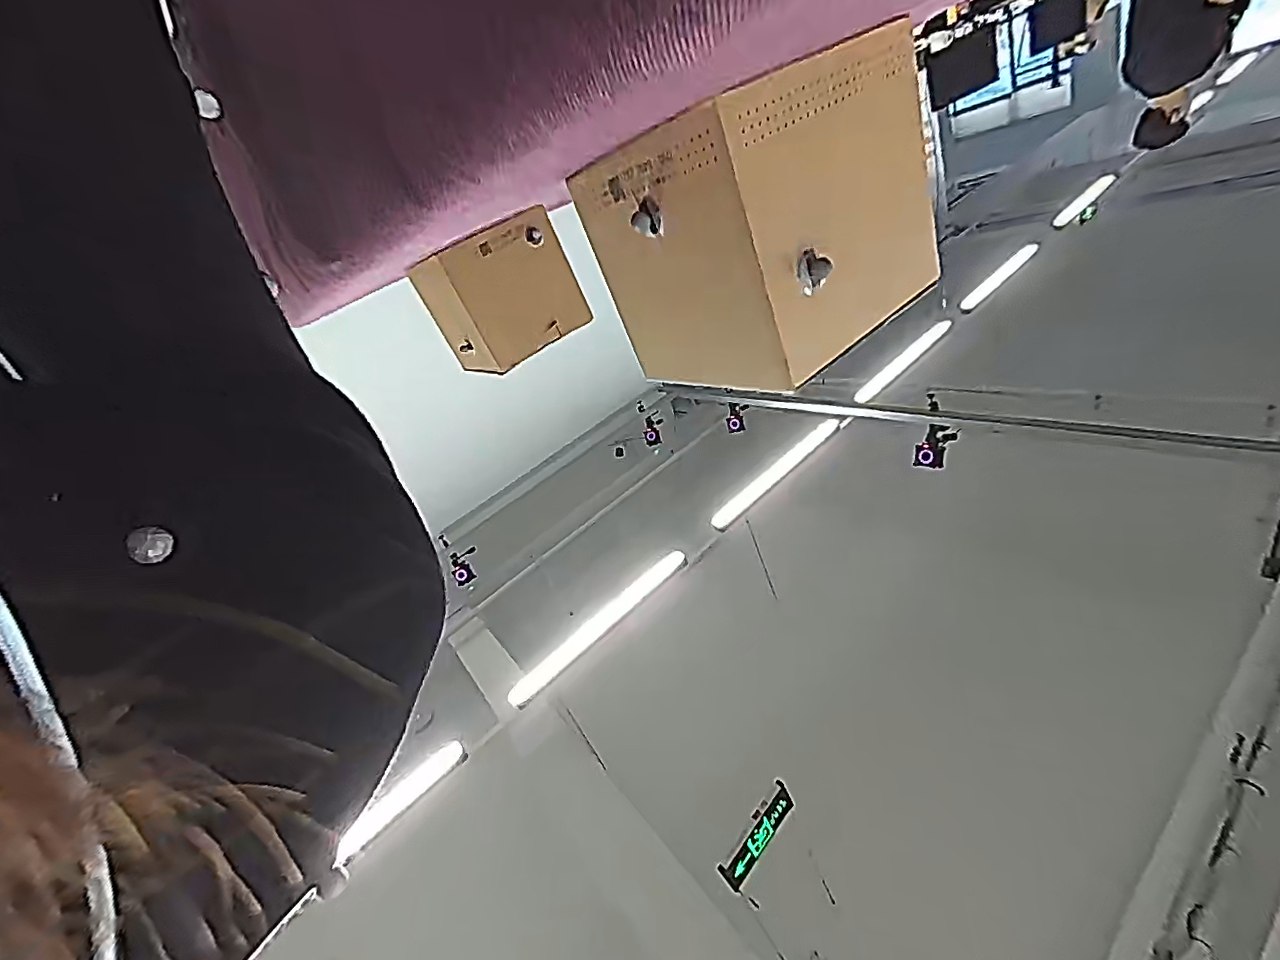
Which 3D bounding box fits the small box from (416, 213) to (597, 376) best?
[{"bbox_3d":[-0.199,-0.268,0.792,0.168,0.176,0.179,-38,-150,-22],"label":"small box"}]
